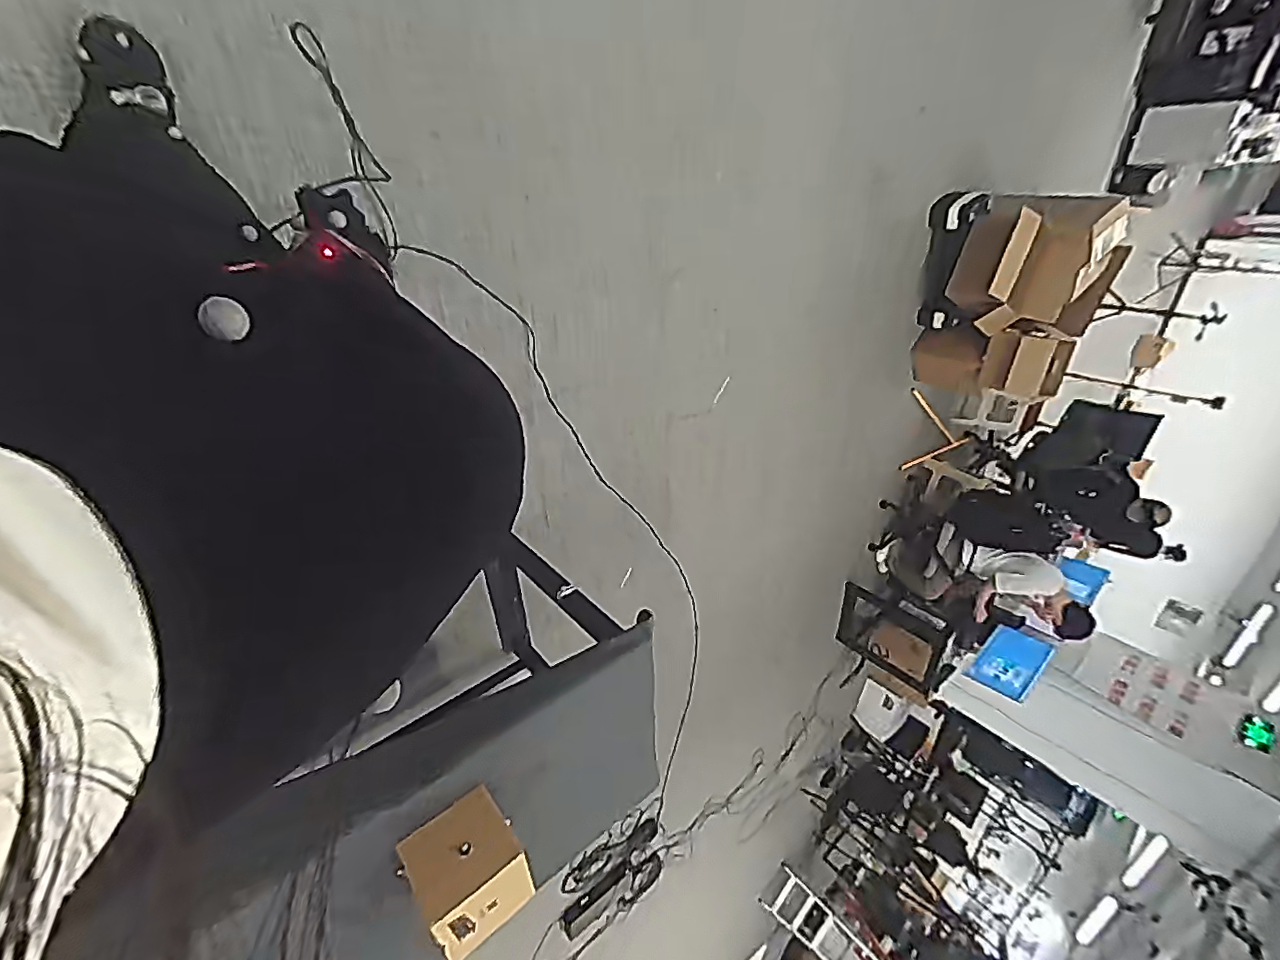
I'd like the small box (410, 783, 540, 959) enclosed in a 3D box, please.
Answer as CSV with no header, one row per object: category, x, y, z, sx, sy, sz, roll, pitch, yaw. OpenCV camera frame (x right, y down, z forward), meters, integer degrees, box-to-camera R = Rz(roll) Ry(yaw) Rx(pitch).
small box,-0.316,0.731,1.024,0.179,0.176,0.168,-26,128,-33
